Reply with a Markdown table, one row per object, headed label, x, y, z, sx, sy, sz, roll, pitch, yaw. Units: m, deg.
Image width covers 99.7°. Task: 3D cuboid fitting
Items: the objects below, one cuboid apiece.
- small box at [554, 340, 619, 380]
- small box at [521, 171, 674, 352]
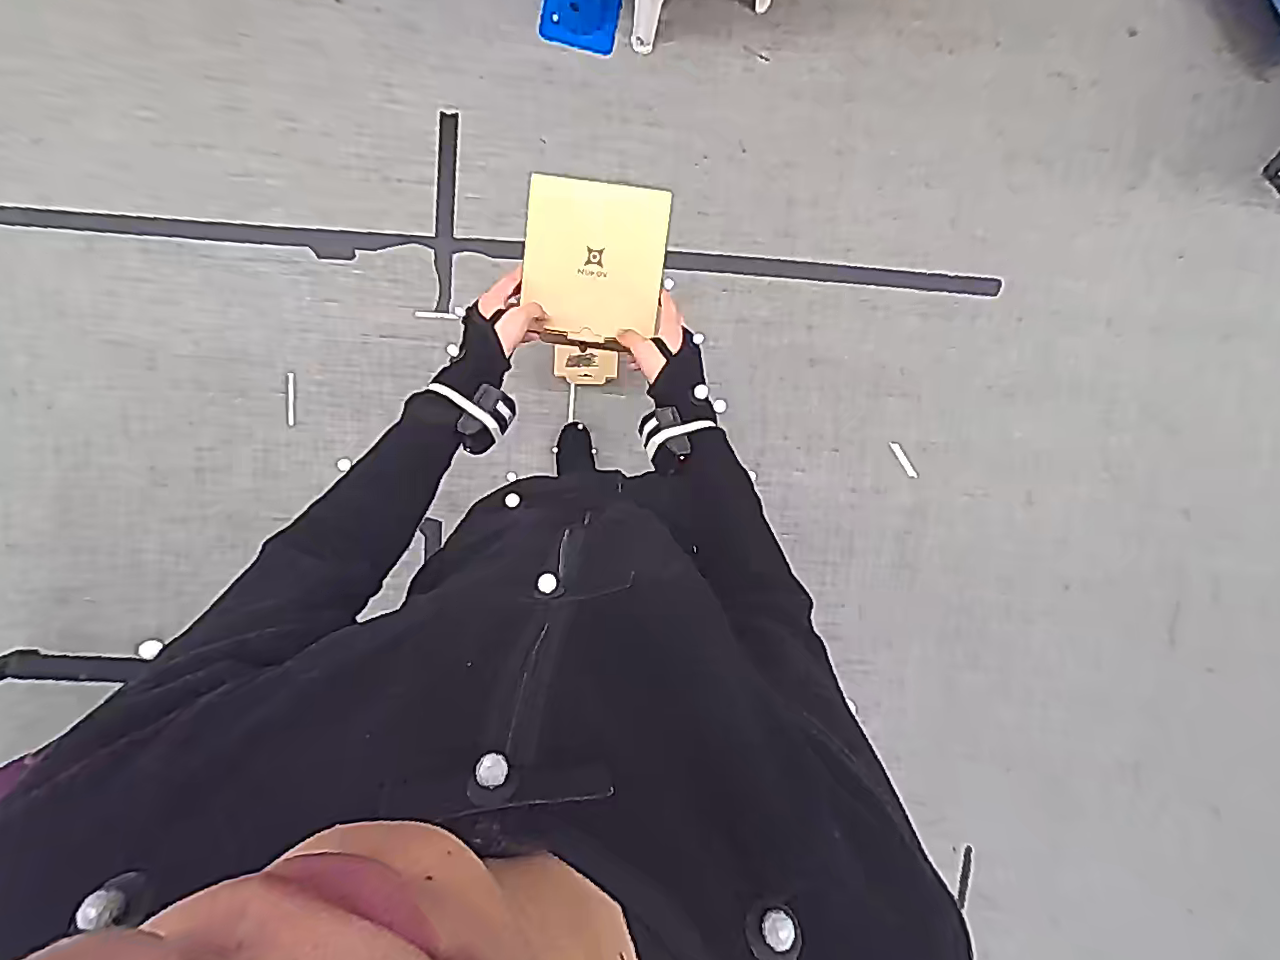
| label | x | y | z | sx | sy | sz | roll | pitch | yaw |
| --- | --- | --- | --- | --- | --- | --- | --- | --- | --- |
| small box | -0.140 | -0.368 | 1.478 | 0.168 | 0.176 | 0.179 | 2 | 97 | -3 |
| small box | -0.054 | -0.272 | 0.712 | 0.168 | 0.176 | 0.179 | 7 | 100 | -2 |
